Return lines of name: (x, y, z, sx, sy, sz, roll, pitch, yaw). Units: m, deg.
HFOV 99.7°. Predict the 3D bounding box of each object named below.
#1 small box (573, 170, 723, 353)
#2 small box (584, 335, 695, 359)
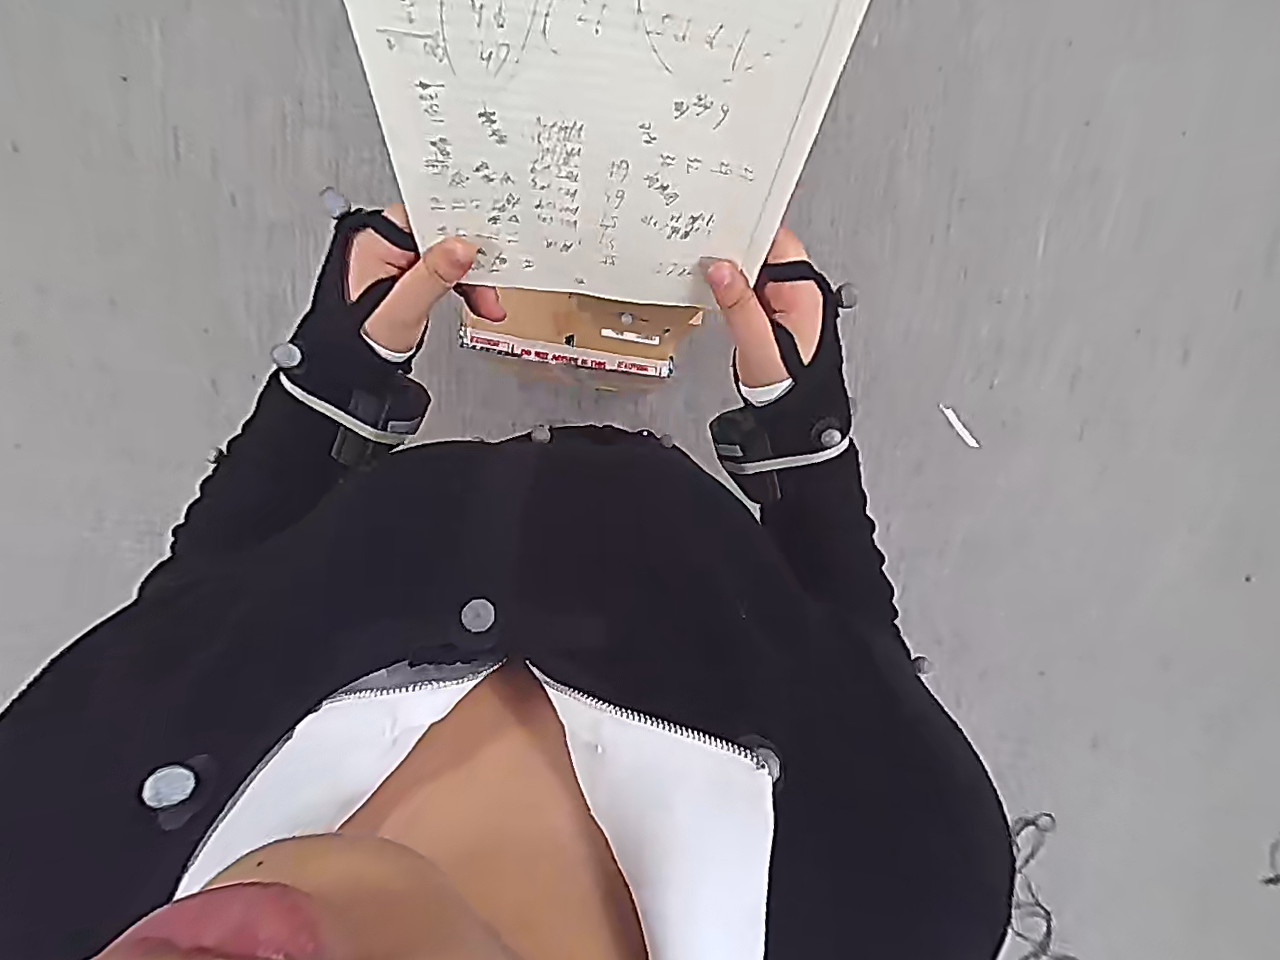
small box: (0.000, -0.287, 0.752, 0.168, 0.176, 0.179, 10, 96, -8)
small box: (0.002, -0.305, 0.917, 0.179, 0.176, 0.168, 6, 95, -6)
